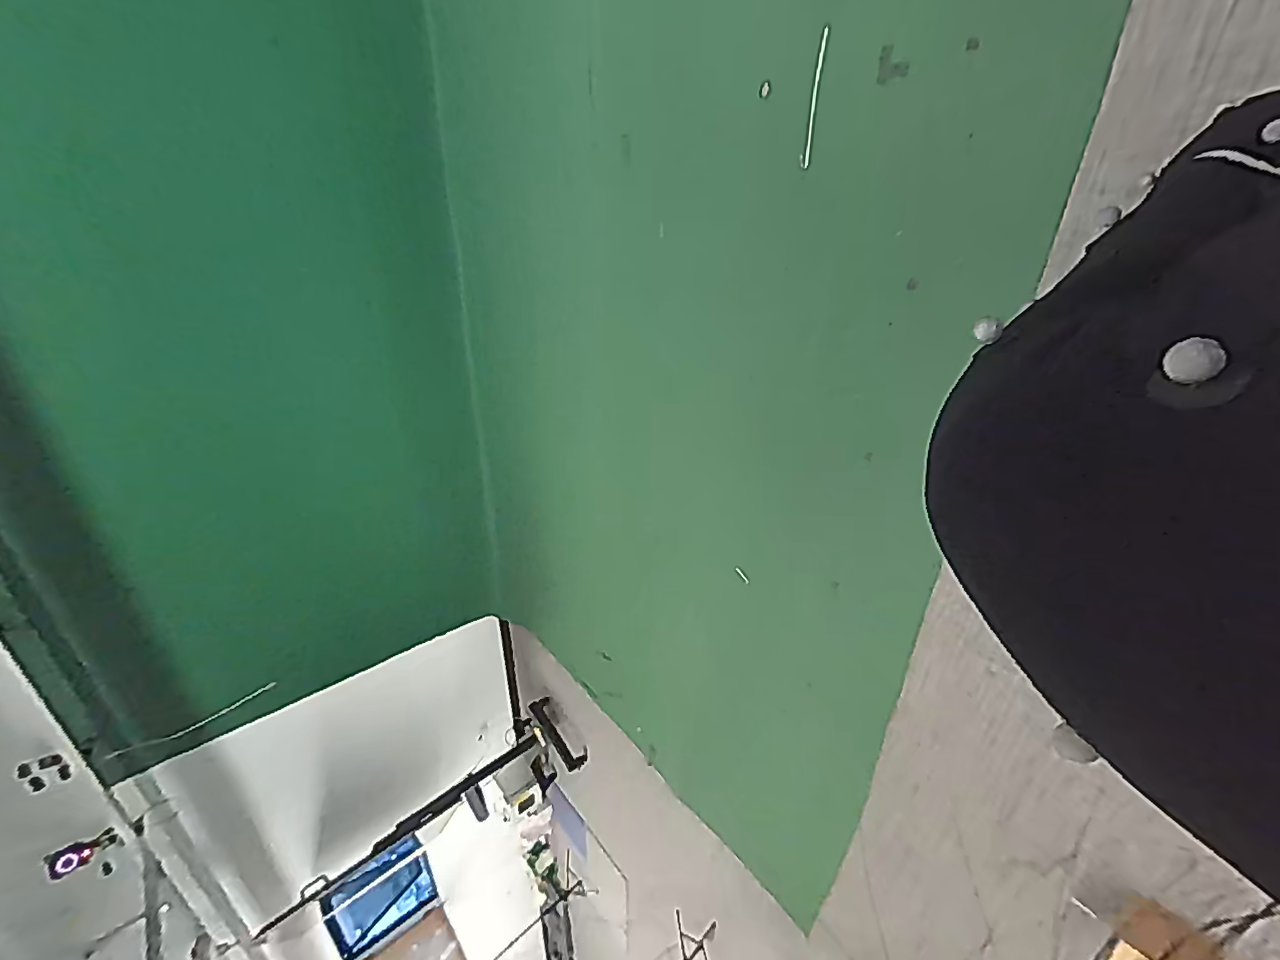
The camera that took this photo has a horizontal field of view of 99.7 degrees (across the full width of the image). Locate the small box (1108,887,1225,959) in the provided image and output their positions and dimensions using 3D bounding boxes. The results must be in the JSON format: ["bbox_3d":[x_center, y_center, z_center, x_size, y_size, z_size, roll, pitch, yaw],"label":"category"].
[{"bbox_3d":[1.301,1.172,1.338,0.168,0.176,0.179,25,125,45],"label":"small box"}]
